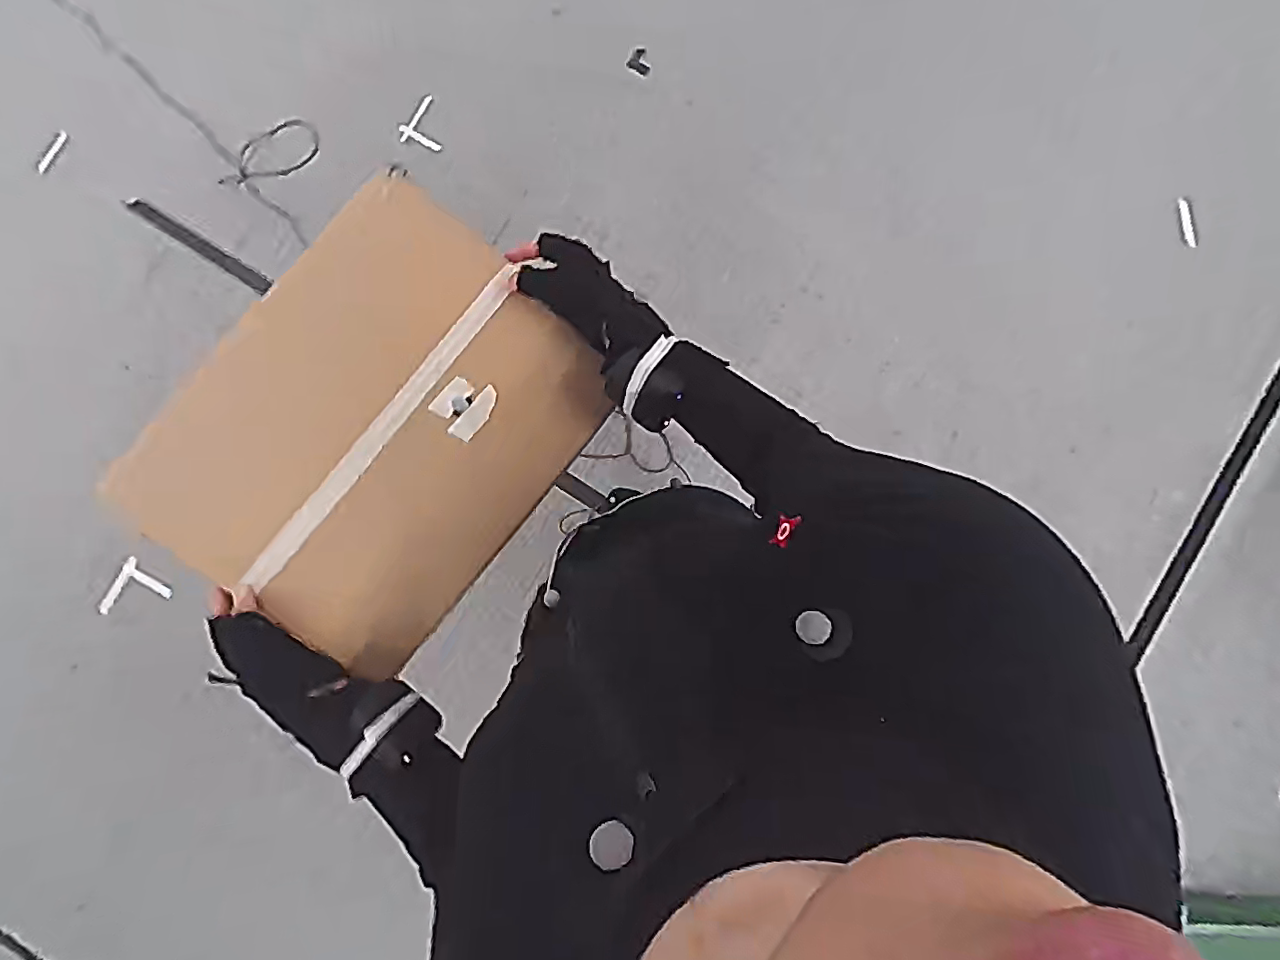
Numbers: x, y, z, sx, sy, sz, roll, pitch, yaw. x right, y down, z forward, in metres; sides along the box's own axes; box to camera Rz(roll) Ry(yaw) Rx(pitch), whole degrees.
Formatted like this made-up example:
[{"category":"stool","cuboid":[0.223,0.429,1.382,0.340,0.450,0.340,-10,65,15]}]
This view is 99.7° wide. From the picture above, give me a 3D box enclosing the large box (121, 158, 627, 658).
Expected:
[{"category":"large box","cuboid":[-0.270,-0.070,0.680,0.320,0.320,0.408,40,86,-8]}]
